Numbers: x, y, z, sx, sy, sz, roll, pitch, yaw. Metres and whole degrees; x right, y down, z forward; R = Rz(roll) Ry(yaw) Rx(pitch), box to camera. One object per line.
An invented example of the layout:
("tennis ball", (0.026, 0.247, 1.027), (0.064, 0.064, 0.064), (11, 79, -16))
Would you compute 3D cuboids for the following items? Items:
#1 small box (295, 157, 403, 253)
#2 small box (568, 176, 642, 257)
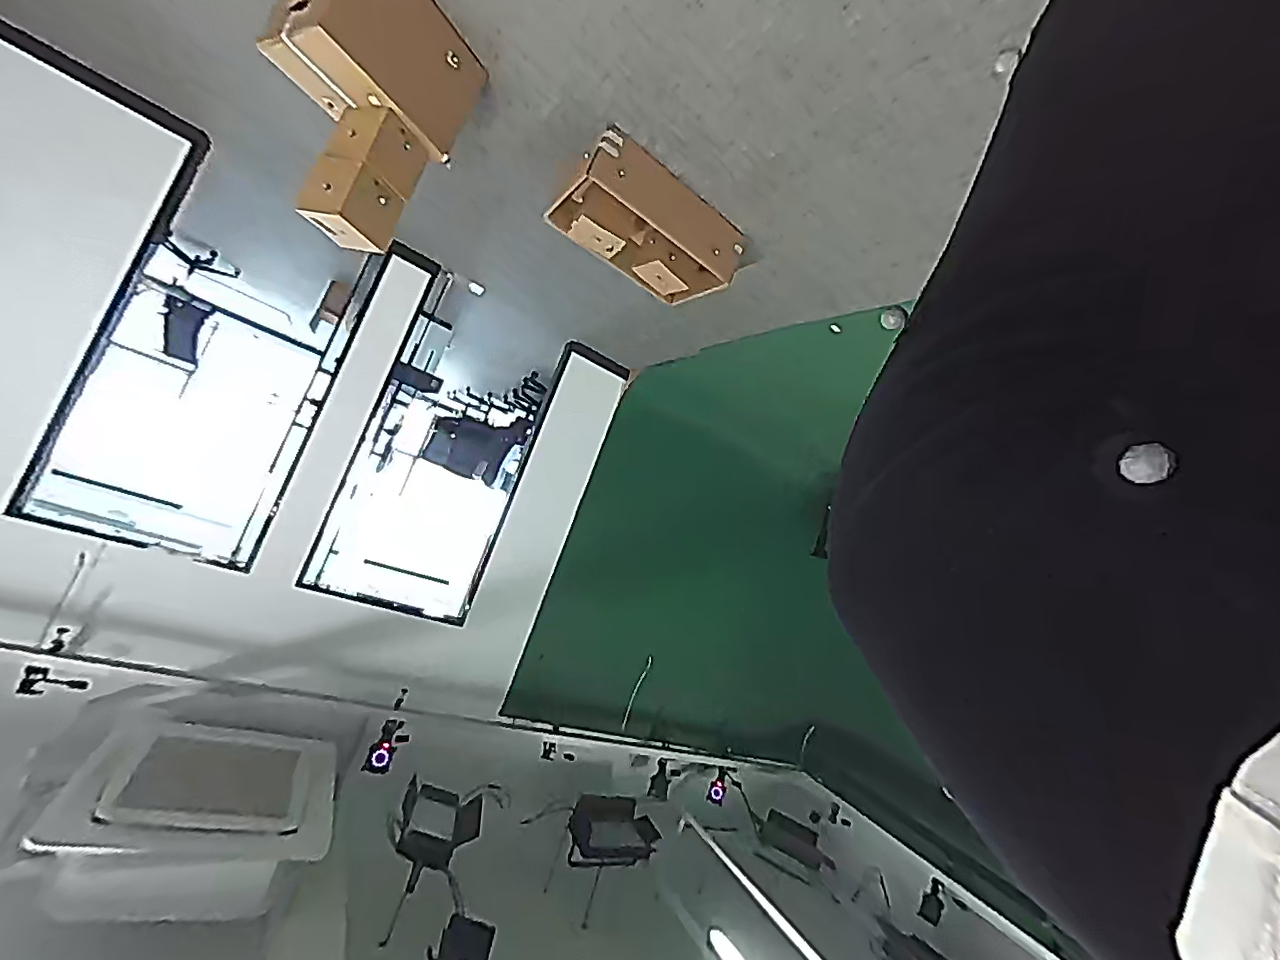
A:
("small box", (-0.801, -0.767, 1.506), (0.179, 0.176, 0.168), (16, 172, 20))
("small box", (-0.122, -0.921, 1.885), (0.179, 0.176, 0.168), (23, 172, -25))
